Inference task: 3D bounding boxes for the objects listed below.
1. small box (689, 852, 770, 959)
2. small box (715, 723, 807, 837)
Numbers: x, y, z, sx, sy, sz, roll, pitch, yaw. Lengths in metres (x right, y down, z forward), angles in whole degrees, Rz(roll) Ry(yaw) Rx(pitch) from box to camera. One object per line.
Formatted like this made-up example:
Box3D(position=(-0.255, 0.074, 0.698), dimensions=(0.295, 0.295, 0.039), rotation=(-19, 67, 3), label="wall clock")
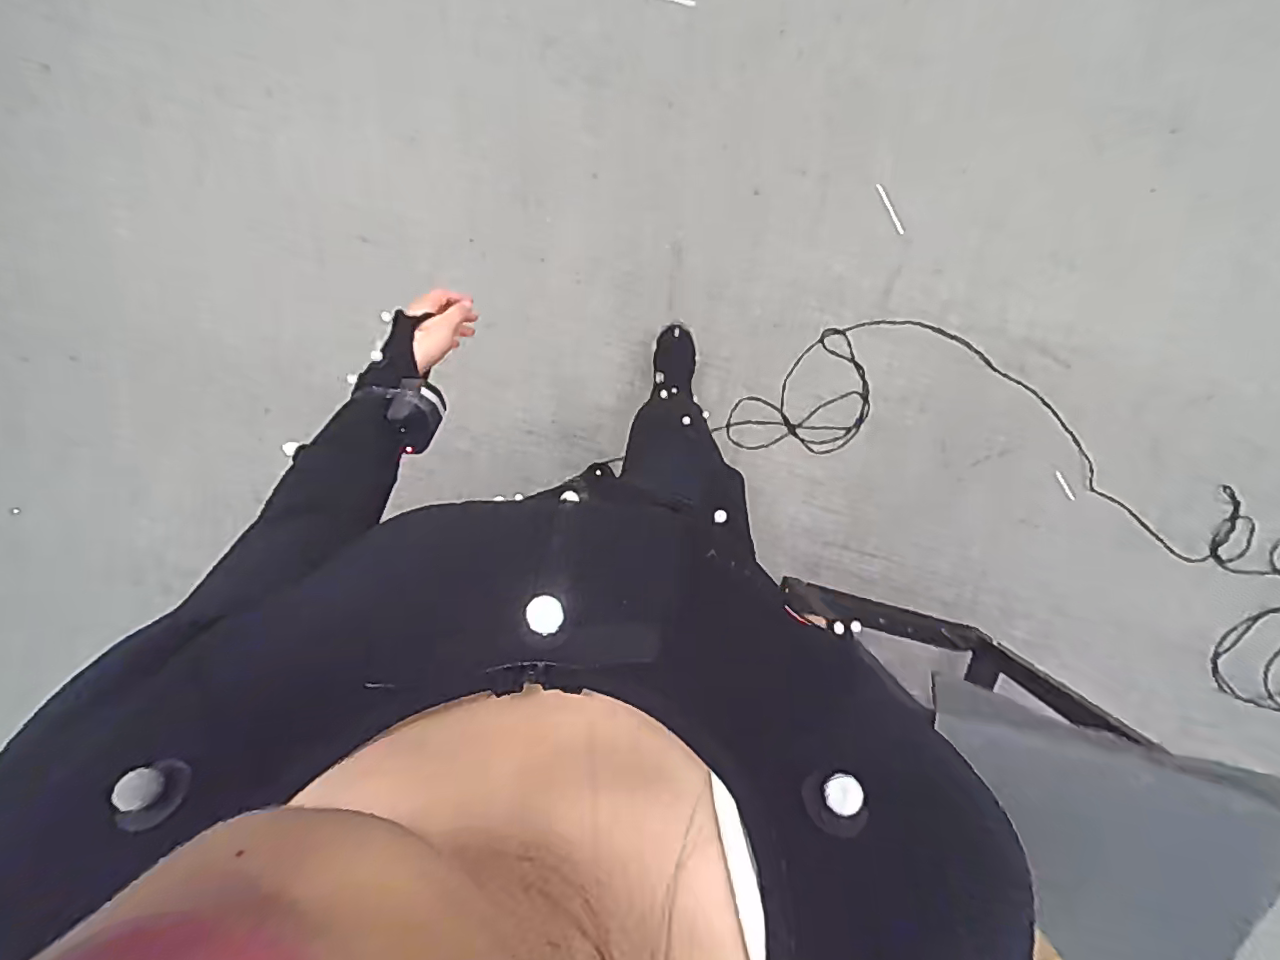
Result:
Box3D(position=(0.248, 1.219, 1.547), dimensions=(0.168, 0.176, 0.179), rotation=(22, 98, -2), label="small box")
Box3D(position=(0.325, 0.823, 1.499), dimensions=(0.168, 0.176, 0.179), rotation=(36, 94, -5), label="small box")
